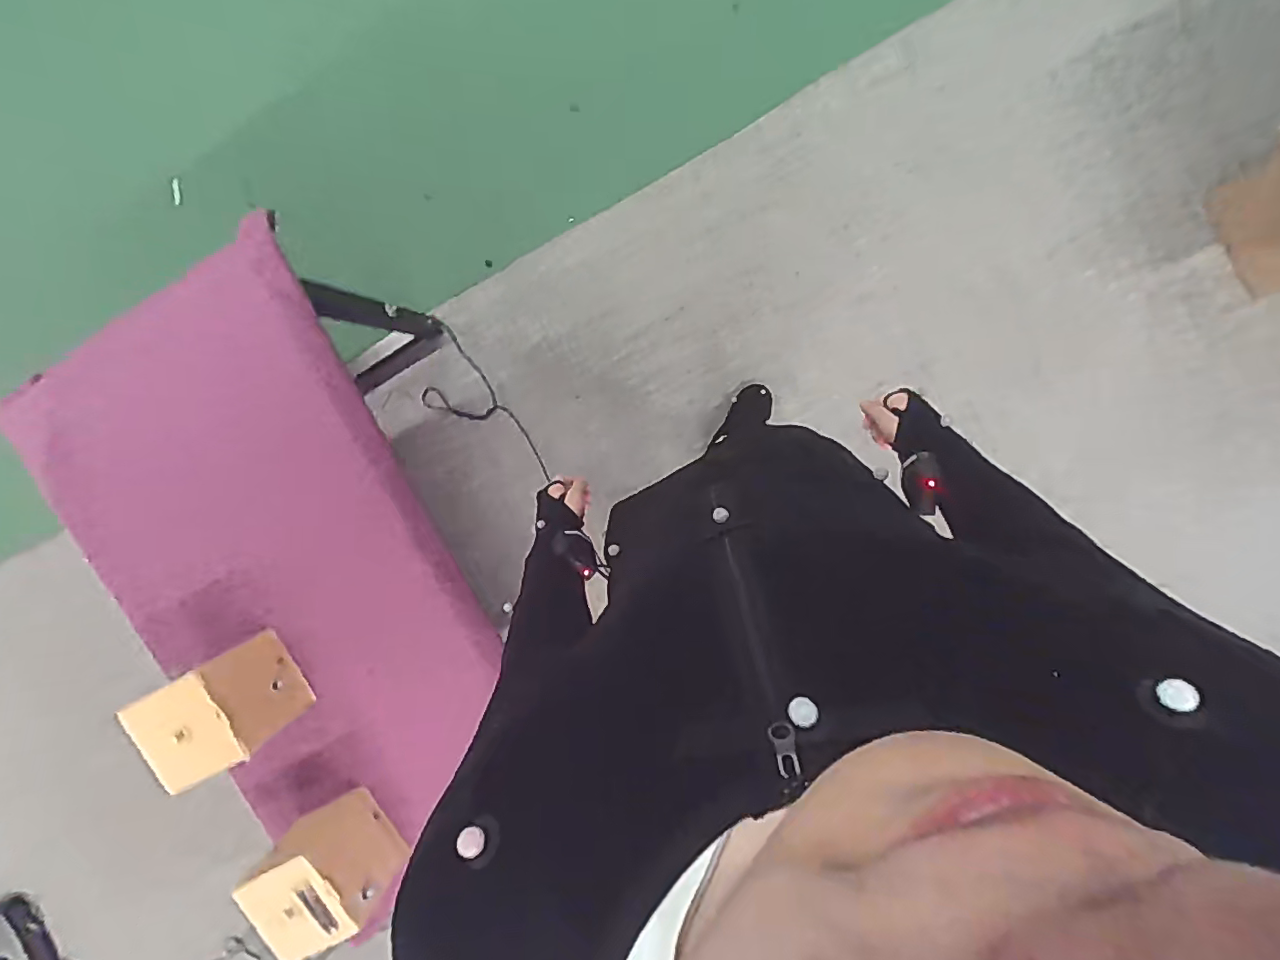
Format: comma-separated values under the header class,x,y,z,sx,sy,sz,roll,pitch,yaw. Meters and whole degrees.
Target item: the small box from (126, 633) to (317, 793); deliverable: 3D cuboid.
class,x,y,z,sx,sy,sz,roll,pitch,yaw
small box,-0.735,0.407,0.968,0.179,0.176,0.168,-29,95,9
